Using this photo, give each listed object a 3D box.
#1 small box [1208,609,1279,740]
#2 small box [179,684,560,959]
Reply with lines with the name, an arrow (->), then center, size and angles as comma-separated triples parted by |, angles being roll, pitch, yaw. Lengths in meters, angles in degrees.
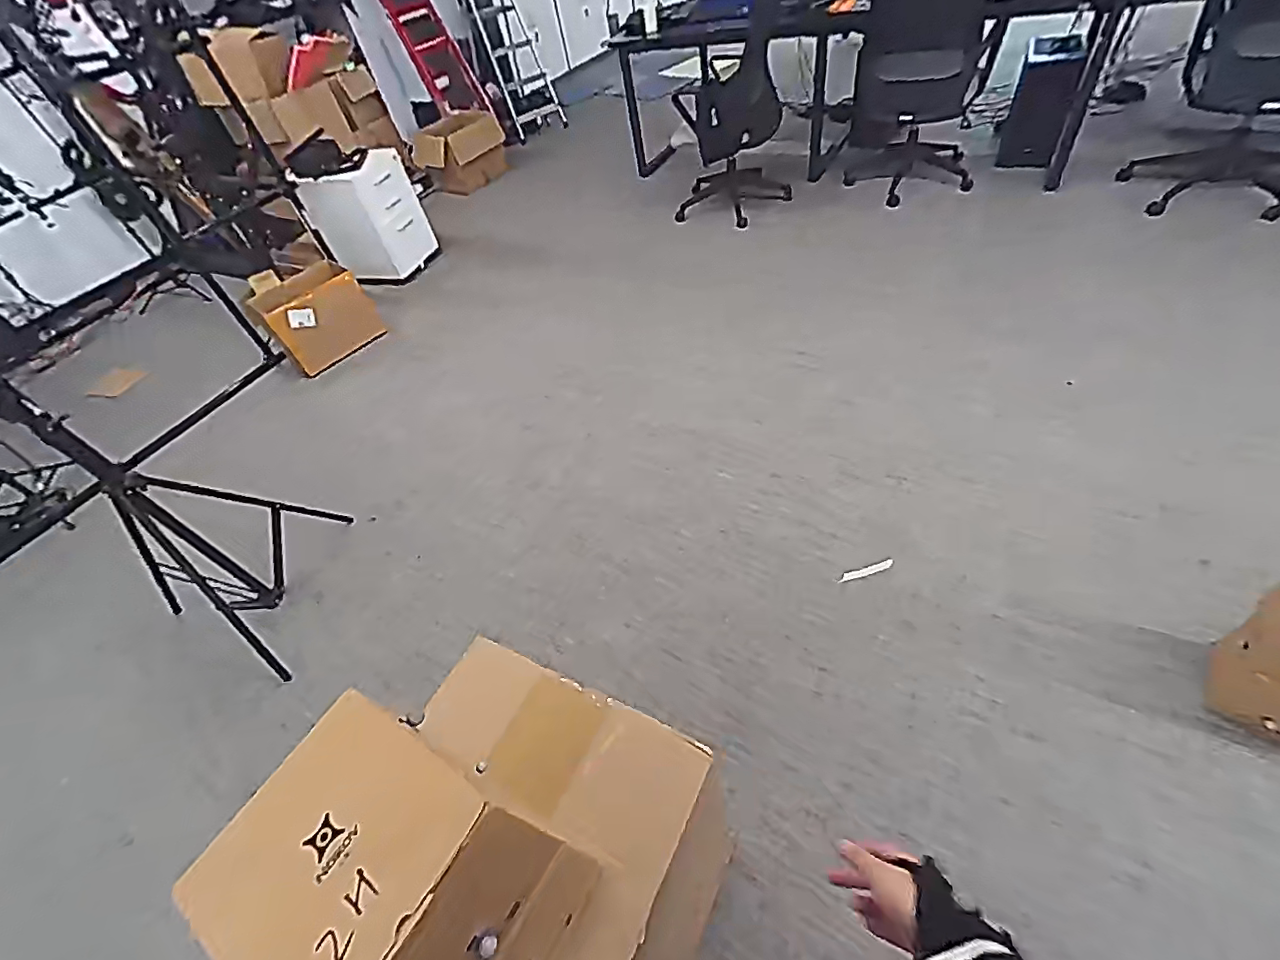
small box -> 1.290, 0.399, 1.076 | 0.168, 0.176, 0.179 | 23, 58, 31
small box -> -0.195, 0.304, 0.434 | 0.179, 0.176, 0.168 | 20, 56, 28
